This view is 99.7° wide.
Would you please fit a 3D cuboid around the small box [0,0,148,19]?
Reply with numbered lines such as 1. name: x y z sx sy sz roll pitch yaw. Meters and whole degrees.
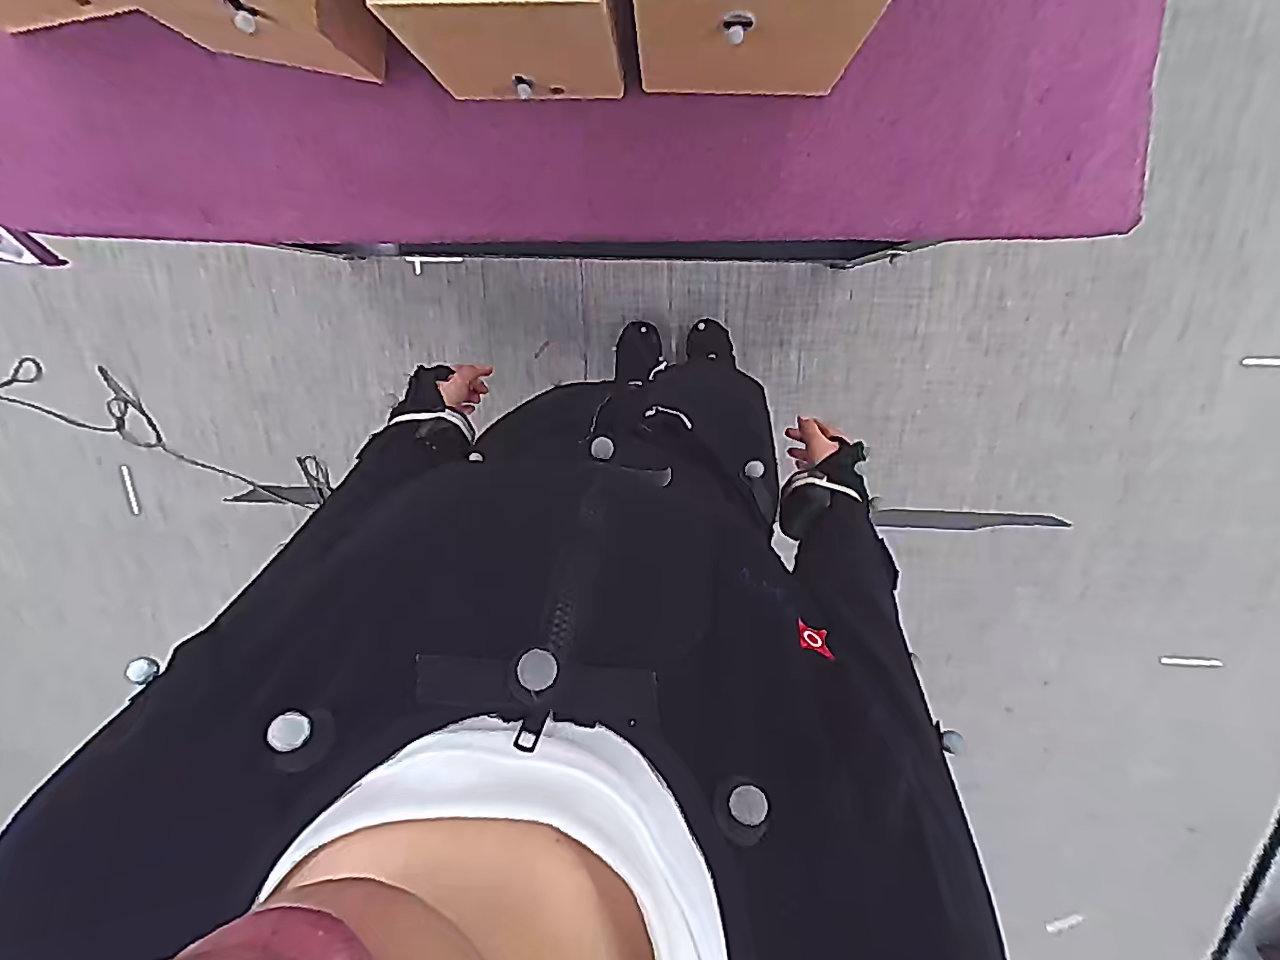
1. small box: -0.549 -0.504 0.423 0.168 0.176 0.179 -6 107 5
